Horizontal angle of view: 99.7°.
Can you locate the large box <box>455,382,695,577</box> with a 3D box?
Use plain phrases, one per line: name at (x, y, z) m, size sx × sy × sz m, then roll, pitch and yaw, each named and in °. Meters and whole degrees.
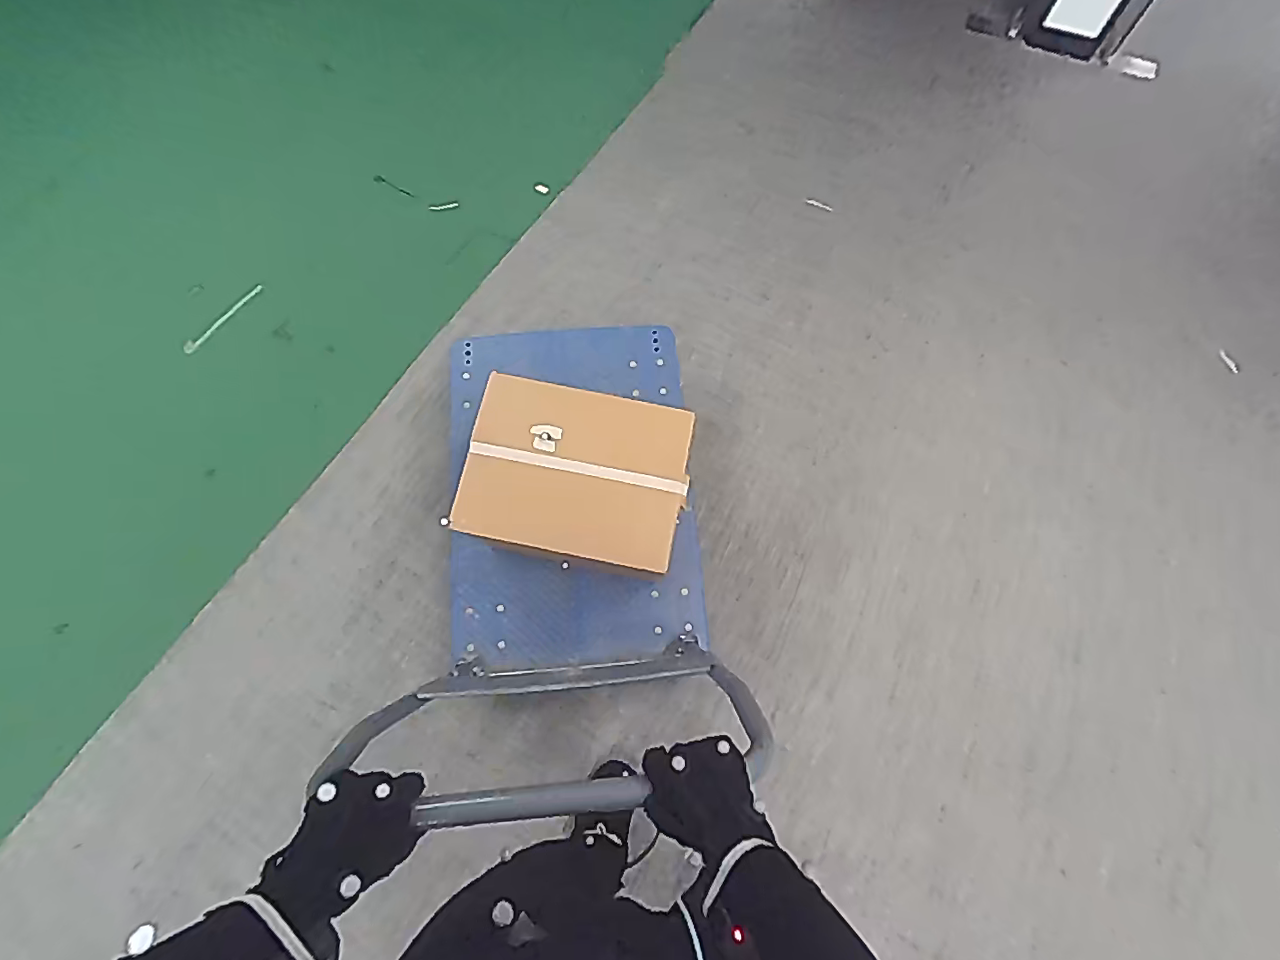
large box at (-0.112, 0.020, 1.144) m, size 0.408 × 0.320 × 0.320 m, roll 10°, pitch 77°, yaw 3°
